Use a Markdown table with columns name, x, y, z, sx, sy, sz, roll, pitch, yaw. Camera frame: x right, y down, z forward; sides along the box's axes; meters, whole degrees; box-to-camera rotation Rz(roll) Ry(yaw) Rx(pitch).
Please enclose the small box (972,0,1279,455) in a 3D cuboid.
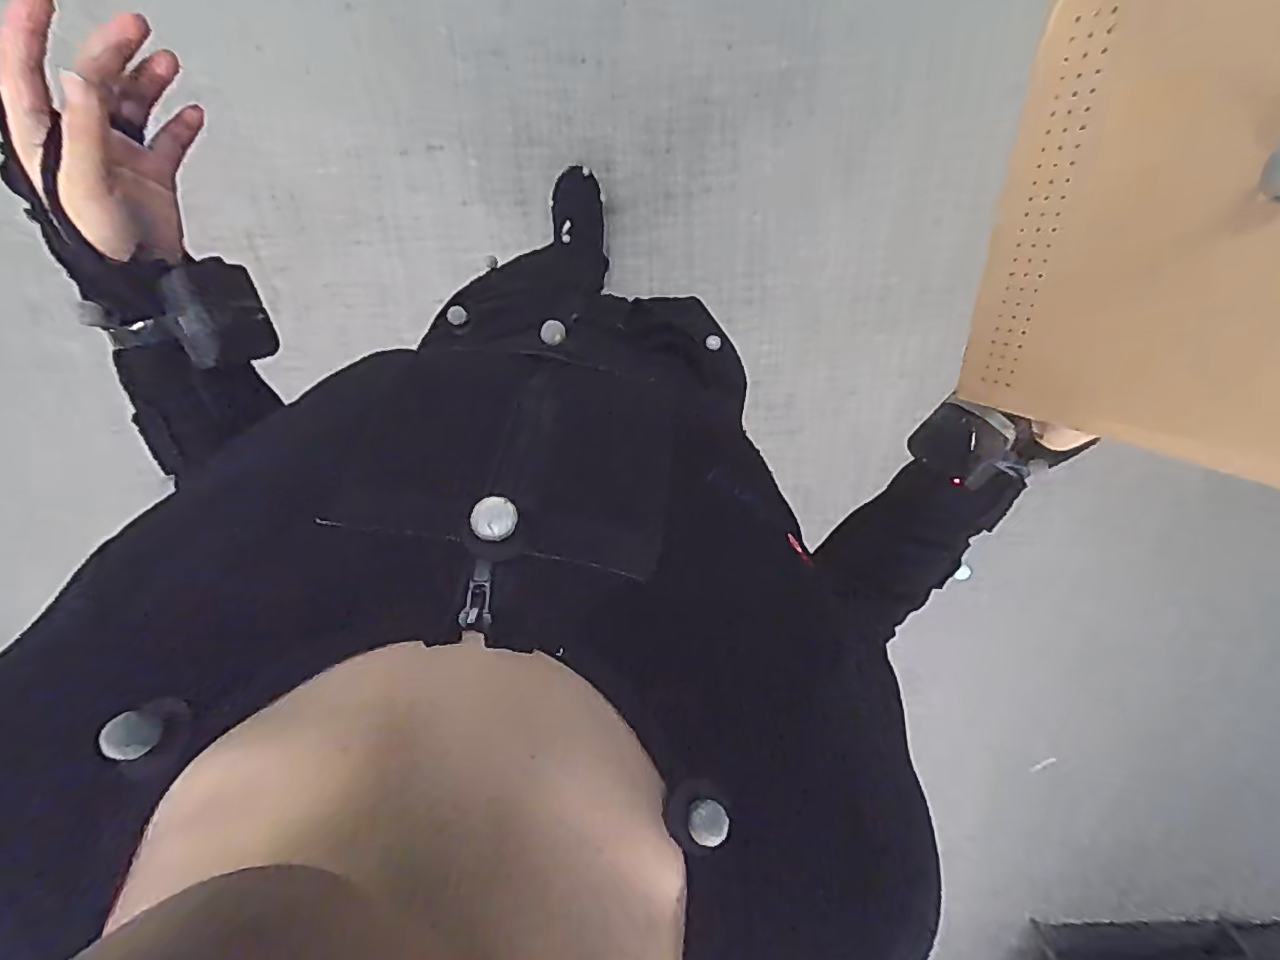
| name | x | y | z | sx | sy | sz | roll | pitch | yaw |
| --- | --- | --- | --- | --- | --- | --- | --- | --- | --- |
| small box | 0.281 | -0.116 | 0.231 | 0.168 | 0.176 | 0.179 | -14 | 118 | -22 |
